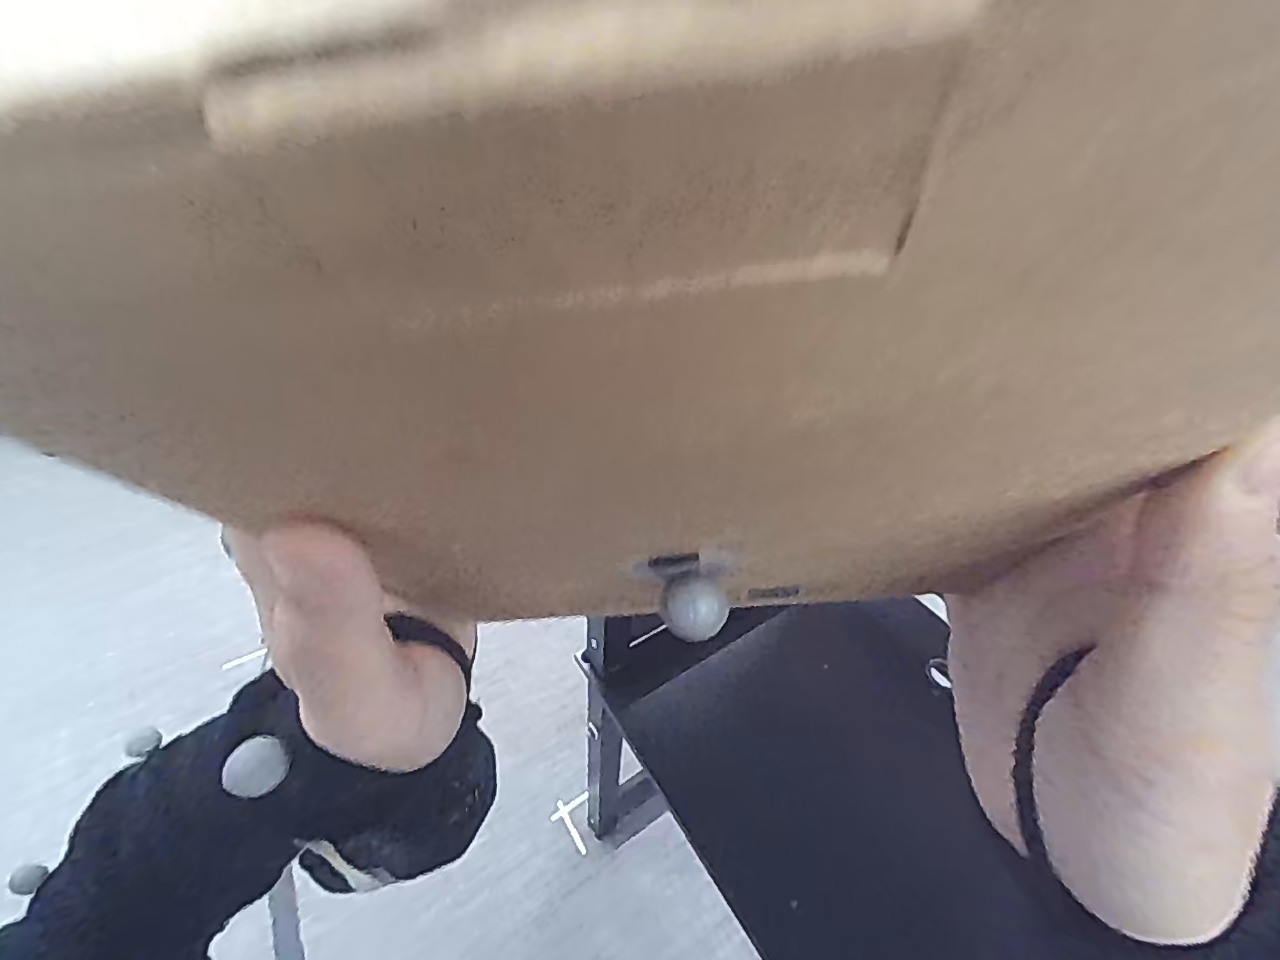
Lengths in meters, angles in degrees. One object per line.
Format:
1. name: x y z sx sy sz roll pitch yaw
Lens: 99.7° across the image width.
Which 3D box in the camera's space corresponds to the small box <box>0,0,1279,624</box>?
1. small box: 0.005 -0.071 0.139 0.168 0.176 0.179 -7 65 7
